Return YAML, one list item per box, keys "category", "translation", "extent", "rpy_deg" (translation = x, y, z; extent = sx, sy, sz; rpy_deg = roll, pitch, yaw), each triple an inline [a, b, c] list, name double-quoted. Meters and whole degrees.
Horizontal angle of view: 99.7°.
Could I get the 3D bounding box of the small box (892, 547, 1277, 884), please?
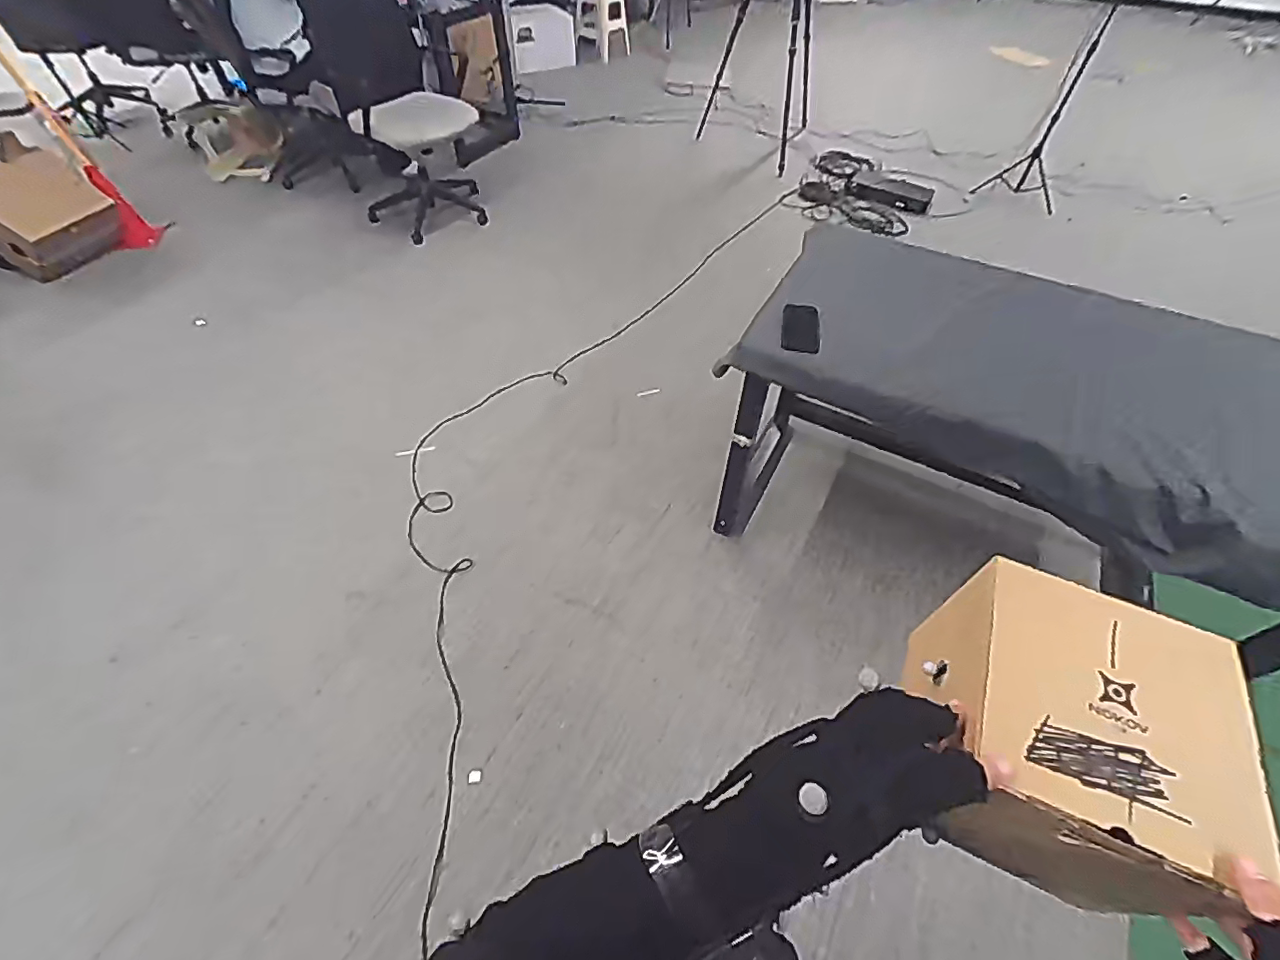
- category: "small box"
  translation: [0.326, 0.193, 0.439]
  extent: [0.168, 0.176, 0.179]
  rpy_deg: [21, 54, 14]
